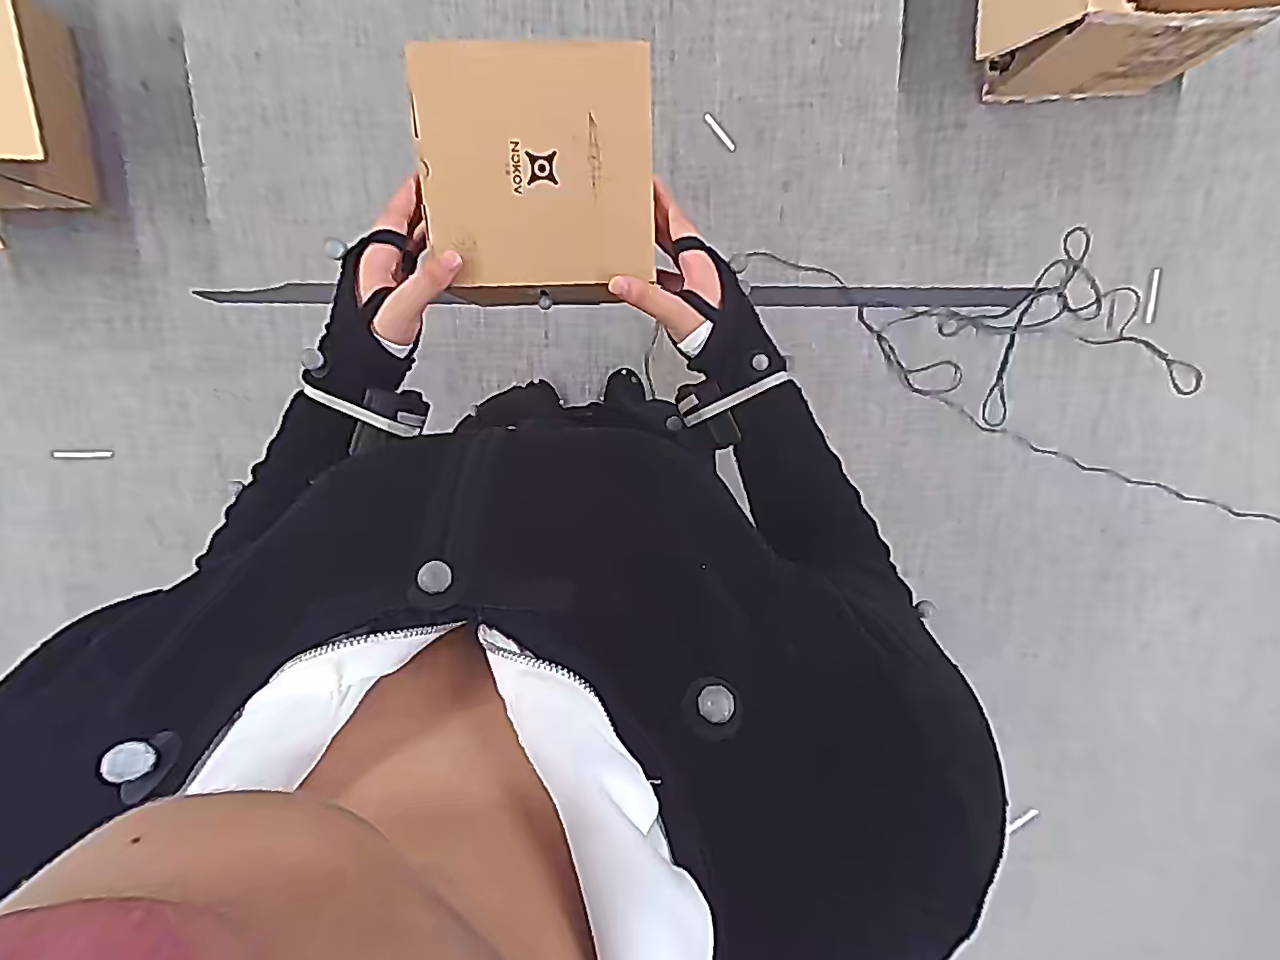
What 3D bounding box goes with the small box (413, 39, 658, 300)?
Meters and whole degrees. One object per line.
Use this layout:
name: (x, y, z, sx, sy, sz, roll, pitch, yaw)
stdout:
small box: (-0.079, -0.257, 0.487, 0.179, 0.176, 0.168, -4, 104, -4)
